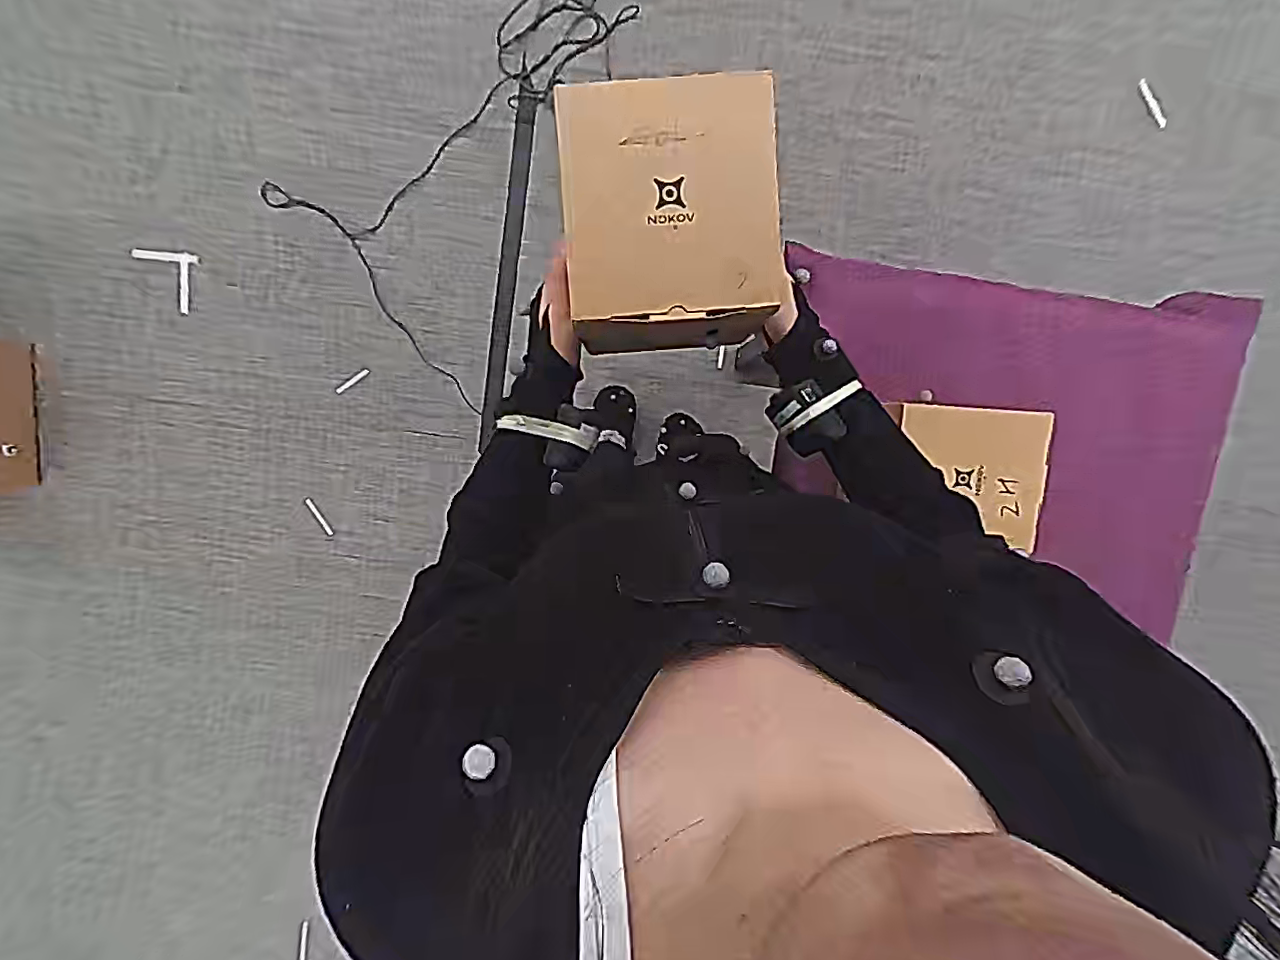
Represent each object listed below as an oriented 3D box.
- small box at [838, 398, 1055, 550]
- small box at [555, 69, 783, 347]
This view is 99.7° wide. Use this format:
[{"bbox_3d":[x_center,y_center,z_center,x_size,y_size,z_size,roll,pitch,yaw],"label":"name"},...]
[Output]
[{"bbox_3d":[0.374,-0.015,0.695,0.179,0.176,0.168,4,98,-2],"label":"small box"},{"bbox_3d":[0.022,-0.220,0.487,0.168,0.176,0.179,-5,94,-1],"label":"small box"}]
